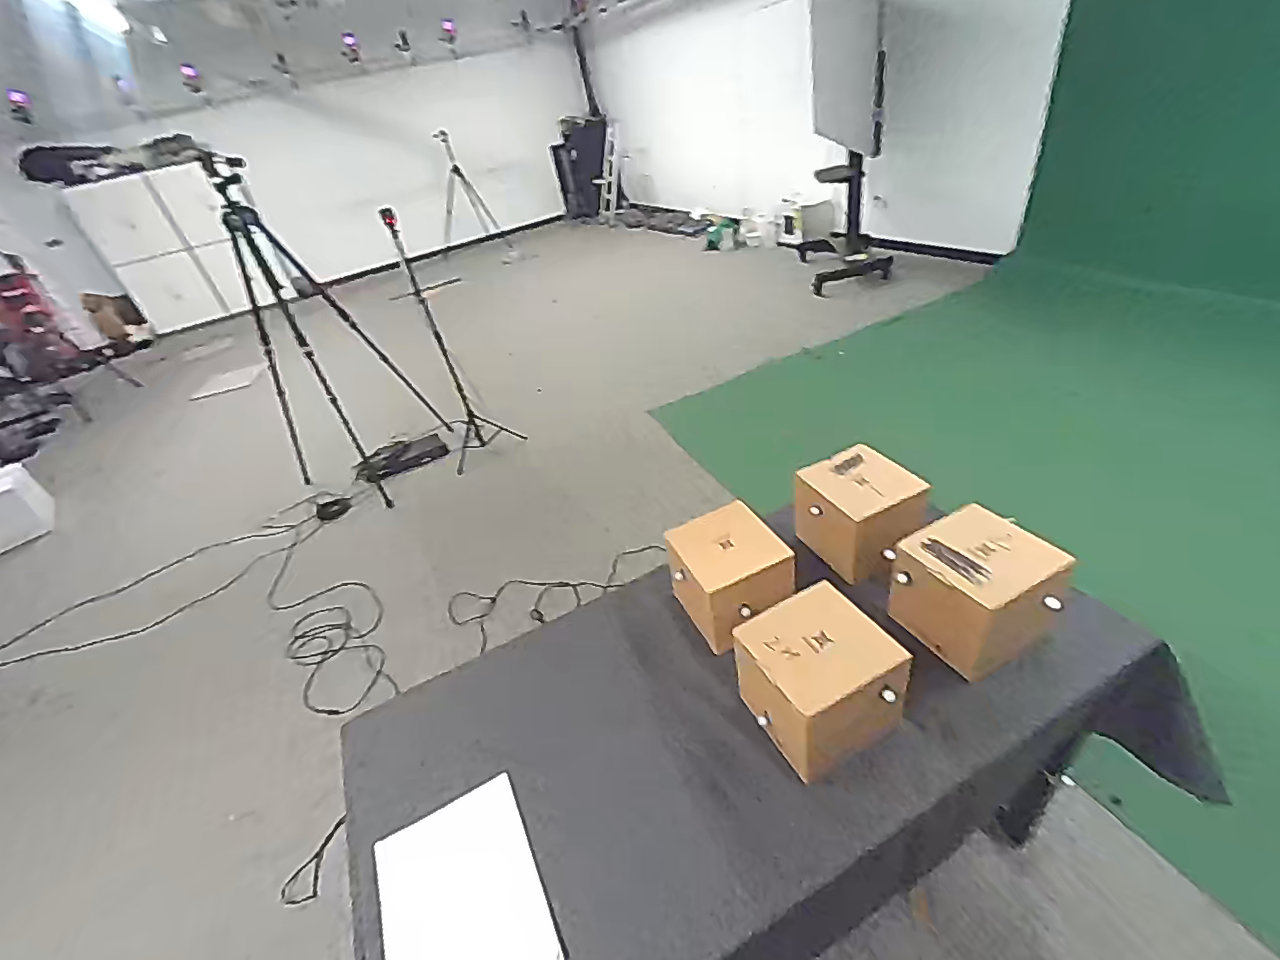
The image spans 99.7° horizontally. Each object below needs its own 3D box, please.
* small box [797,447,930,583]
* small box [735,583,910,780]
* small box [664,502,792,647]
[{"bbox_3d":[0.423,0.067,1.053,0.168,0.176,0.179,-22,37,-12],"label":"small box"},{"bbox_3d":[0.259,0.291,0.791,0.179,0.176,0.168,-23,35,-14],"label":"small box"},{"bbox_3d":[0.163,0.177,0.986,0.168,0.176,0.179,-22,36,-12],"label":"small box"}]
